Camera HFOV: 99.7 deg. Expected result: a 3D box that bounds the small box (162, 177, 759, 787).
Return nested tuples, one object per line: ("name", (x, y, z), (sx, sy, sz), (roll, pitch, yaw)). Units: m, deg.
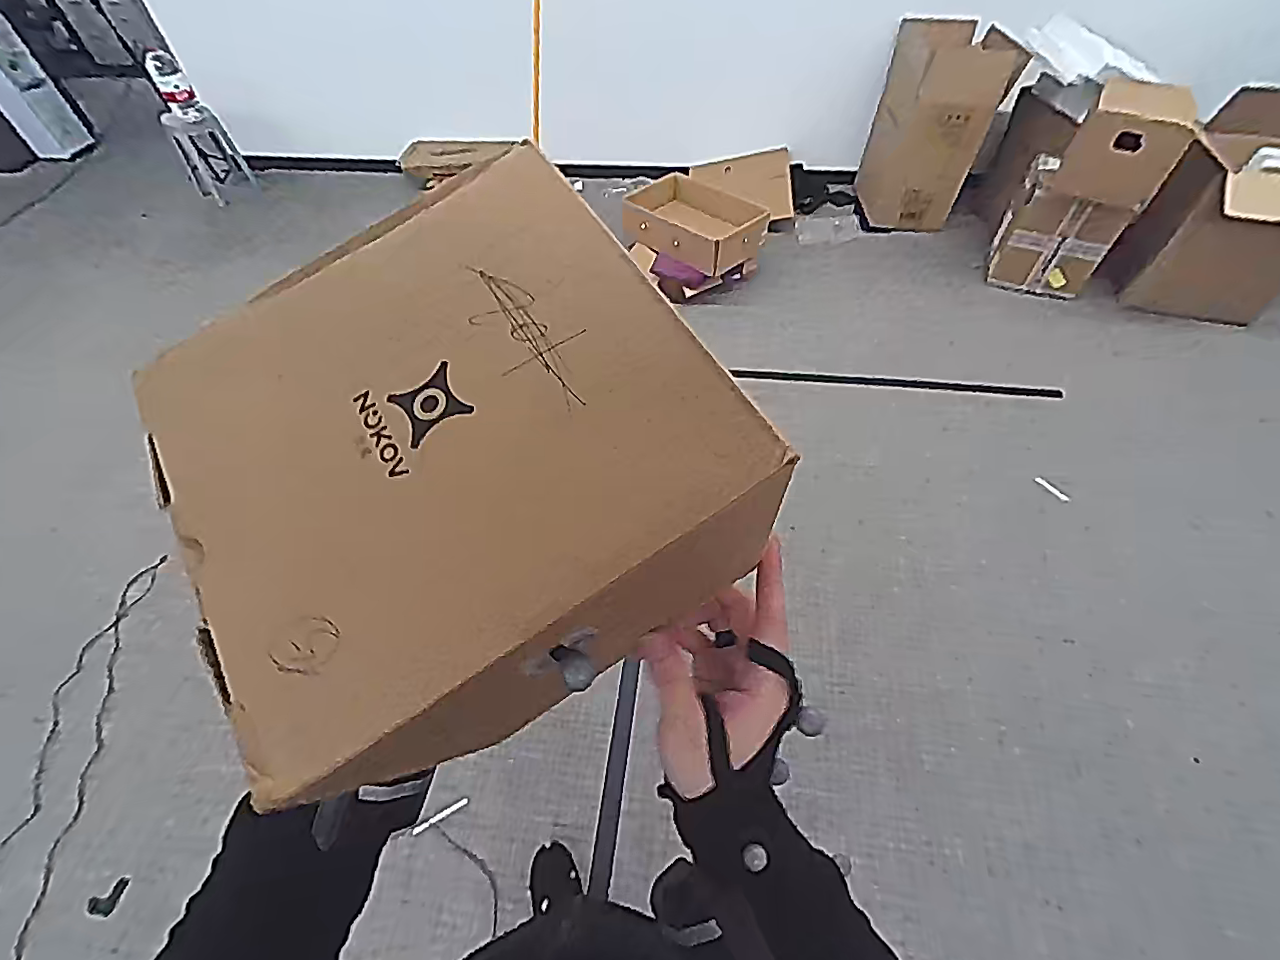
("small box", (-0.062, 0.009, 0.265), (0.179, 0.176, 0.168), (-35, 70, -5))
